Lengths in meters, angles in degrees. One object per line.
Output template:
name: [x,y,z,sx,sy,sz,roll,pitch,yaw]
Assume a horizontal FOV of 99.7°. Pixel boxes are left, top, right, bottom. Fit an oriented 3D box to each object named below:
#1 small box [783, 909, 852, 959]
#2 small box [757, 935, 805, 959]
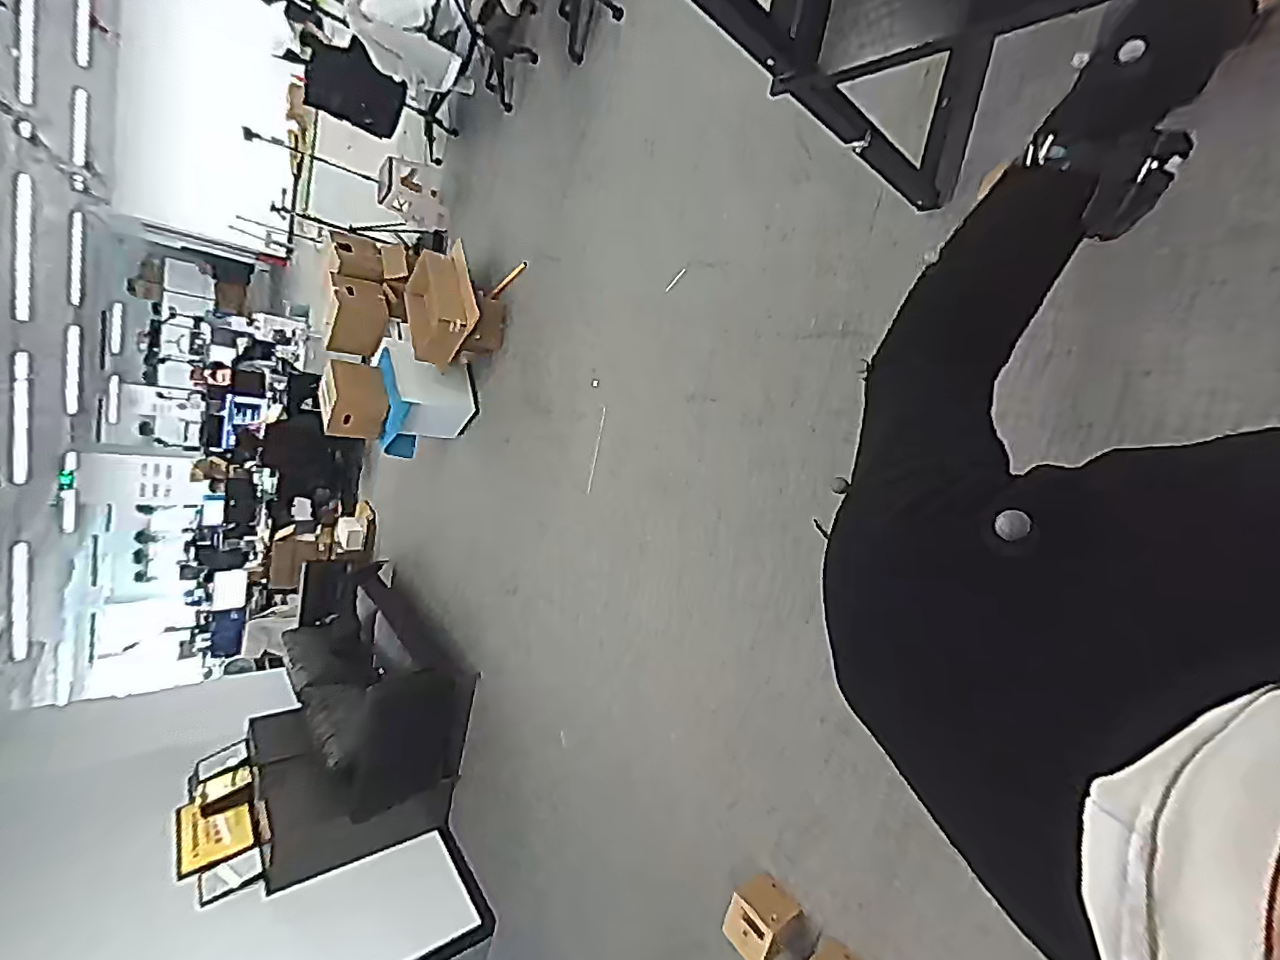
small box: [0.538,1.515,1.698,0.168,0.176,0.179,28,109,45]
small box: [0.417,1.511,1.590,0.168,0.176,0.179,24,107,45]
